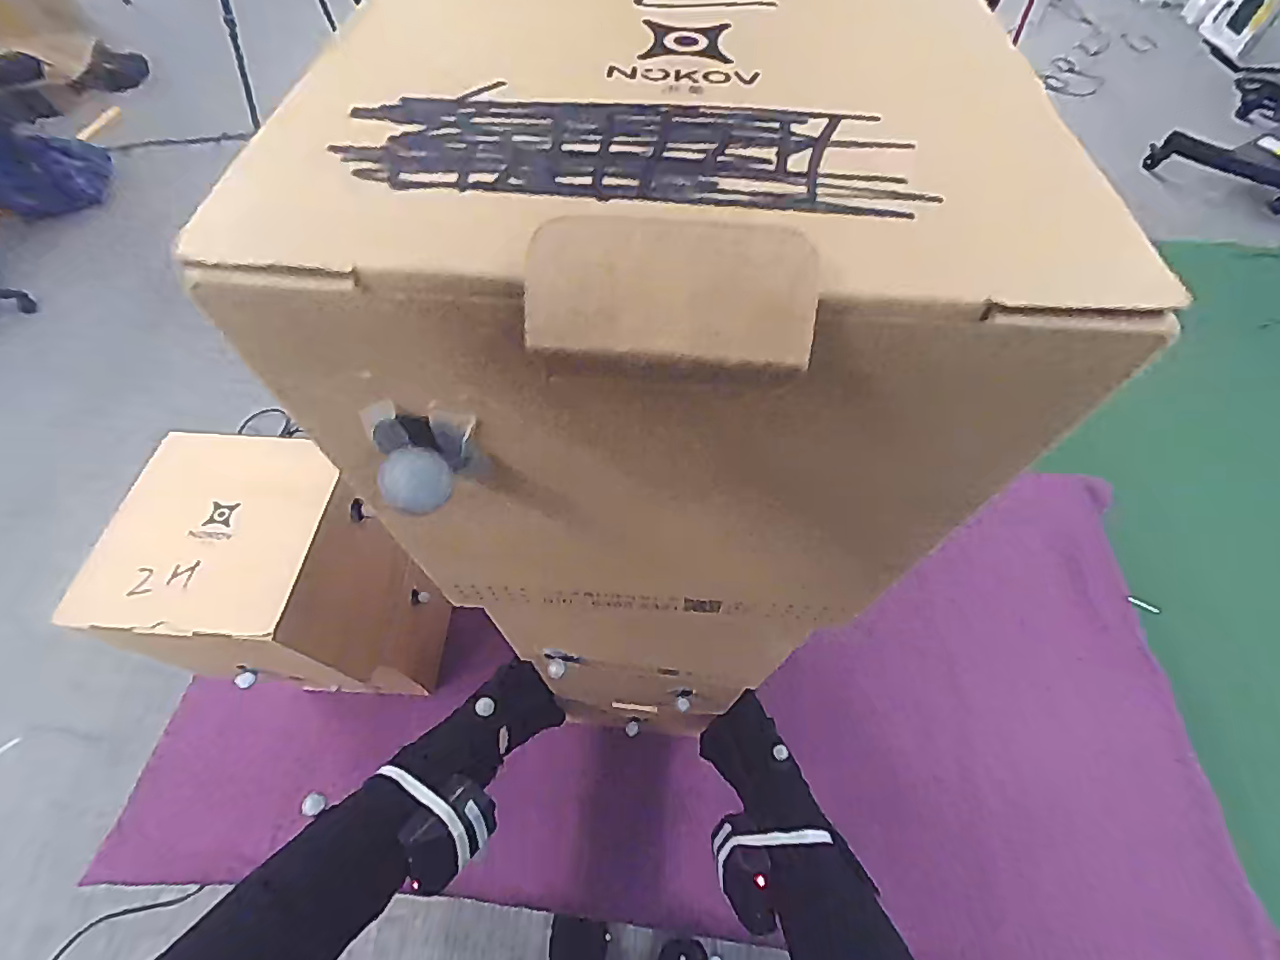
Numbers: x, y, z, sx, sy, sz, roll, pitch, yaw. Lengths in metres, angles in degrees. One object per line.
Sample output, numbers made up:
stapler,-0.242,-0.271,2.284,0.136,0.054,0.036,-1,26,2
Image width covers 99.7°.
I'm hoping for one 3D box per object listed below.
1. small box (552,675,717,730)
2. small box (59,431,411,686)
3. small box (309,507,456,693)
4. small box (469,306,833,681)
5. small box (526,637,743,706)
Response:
small box,0.001,0.185,0.631,0.168,0.176,0.179,2,57,2
small box,-0.332,0.077,0.496,0.168,0.176,0.179,3,59,1
small box,-0.333,0.144,0.648,0.168,0.176,0.179,2,59,0
small box,0.012,0.018,0.347,0.168,0.176,0.179,6,58,2
small box,0.011,0.090,0.475,0.168,0.176,0.179,5,58,2
